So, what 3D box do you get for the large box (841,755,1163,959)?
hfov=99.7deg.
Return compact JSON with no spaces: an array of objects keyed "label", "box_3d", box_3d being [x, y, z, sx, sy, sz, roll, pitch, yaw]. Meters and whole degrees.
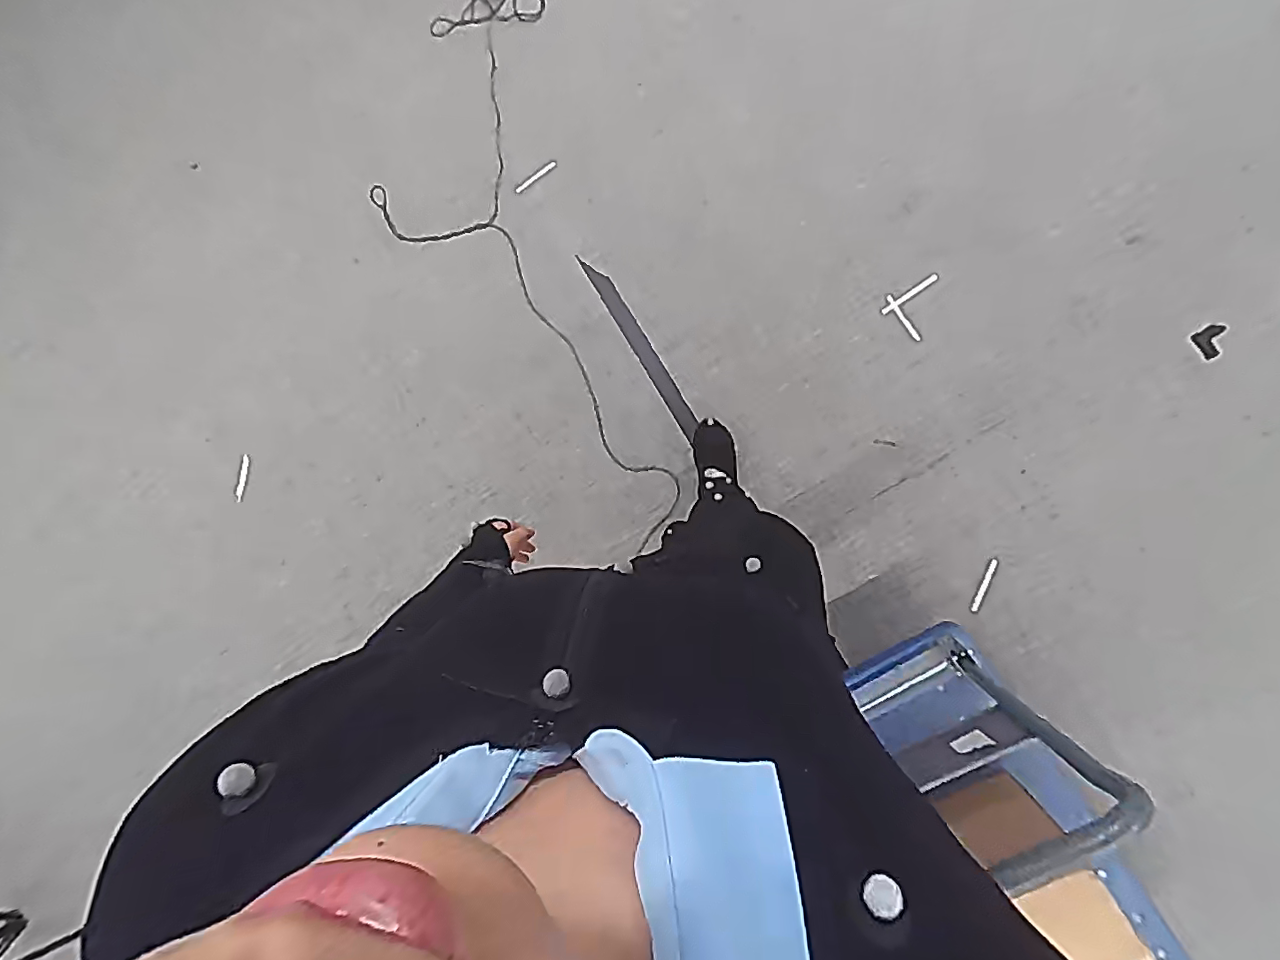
[{"label":"large box","box_3d":[0.678,0.833,1.065,0.408,0.320,0.320,-32,84,8]}]
